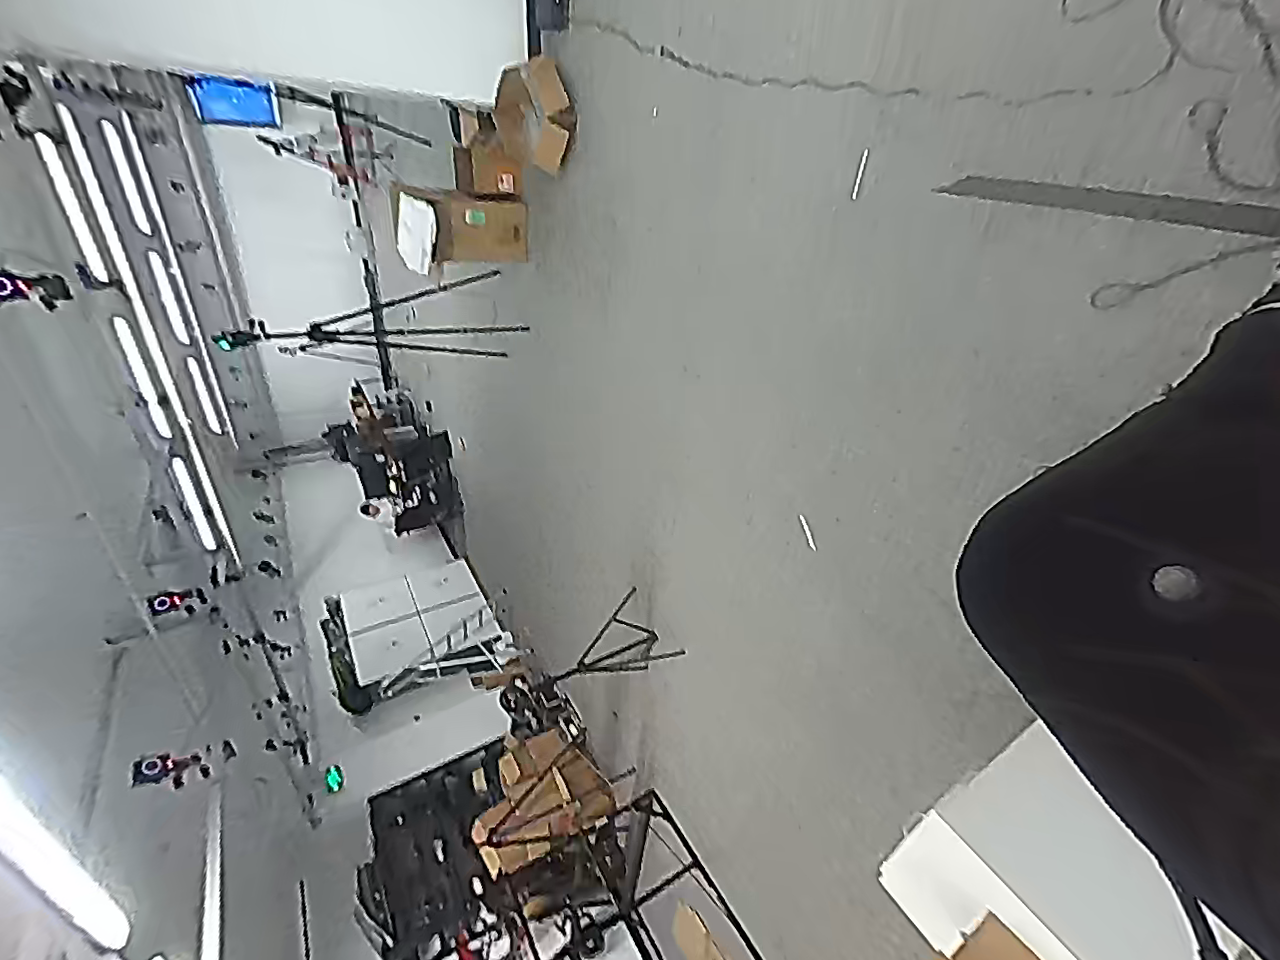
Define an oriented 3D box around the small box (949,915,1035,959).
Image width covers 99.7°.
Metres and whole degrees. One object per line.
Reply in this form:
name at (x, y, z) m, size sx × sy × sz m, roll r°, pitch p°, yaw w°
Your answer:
small box at (0.779, 1.114, 1.176) m, size 0.179 × 0.176 × 0.168 m, roll 38°, pitch 134°, yaw 48°
